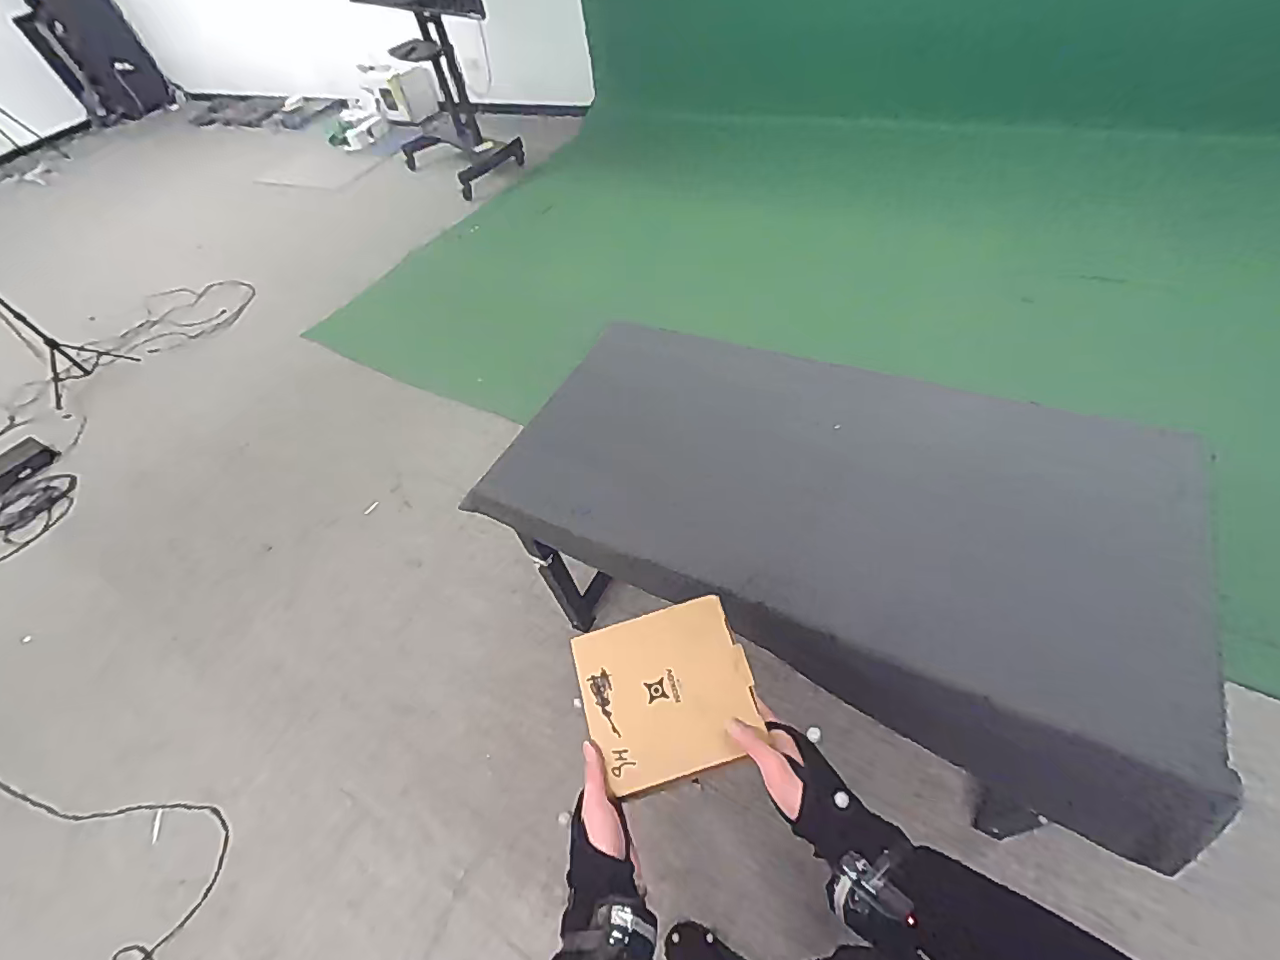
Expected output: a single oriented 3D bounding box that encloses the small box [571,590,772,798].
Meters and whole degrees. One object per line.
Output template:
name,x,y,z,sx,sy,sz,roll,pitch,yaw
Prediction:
small box,0.031,0.250,0.621,0.179,0.176,0.168,-15,57,-4
